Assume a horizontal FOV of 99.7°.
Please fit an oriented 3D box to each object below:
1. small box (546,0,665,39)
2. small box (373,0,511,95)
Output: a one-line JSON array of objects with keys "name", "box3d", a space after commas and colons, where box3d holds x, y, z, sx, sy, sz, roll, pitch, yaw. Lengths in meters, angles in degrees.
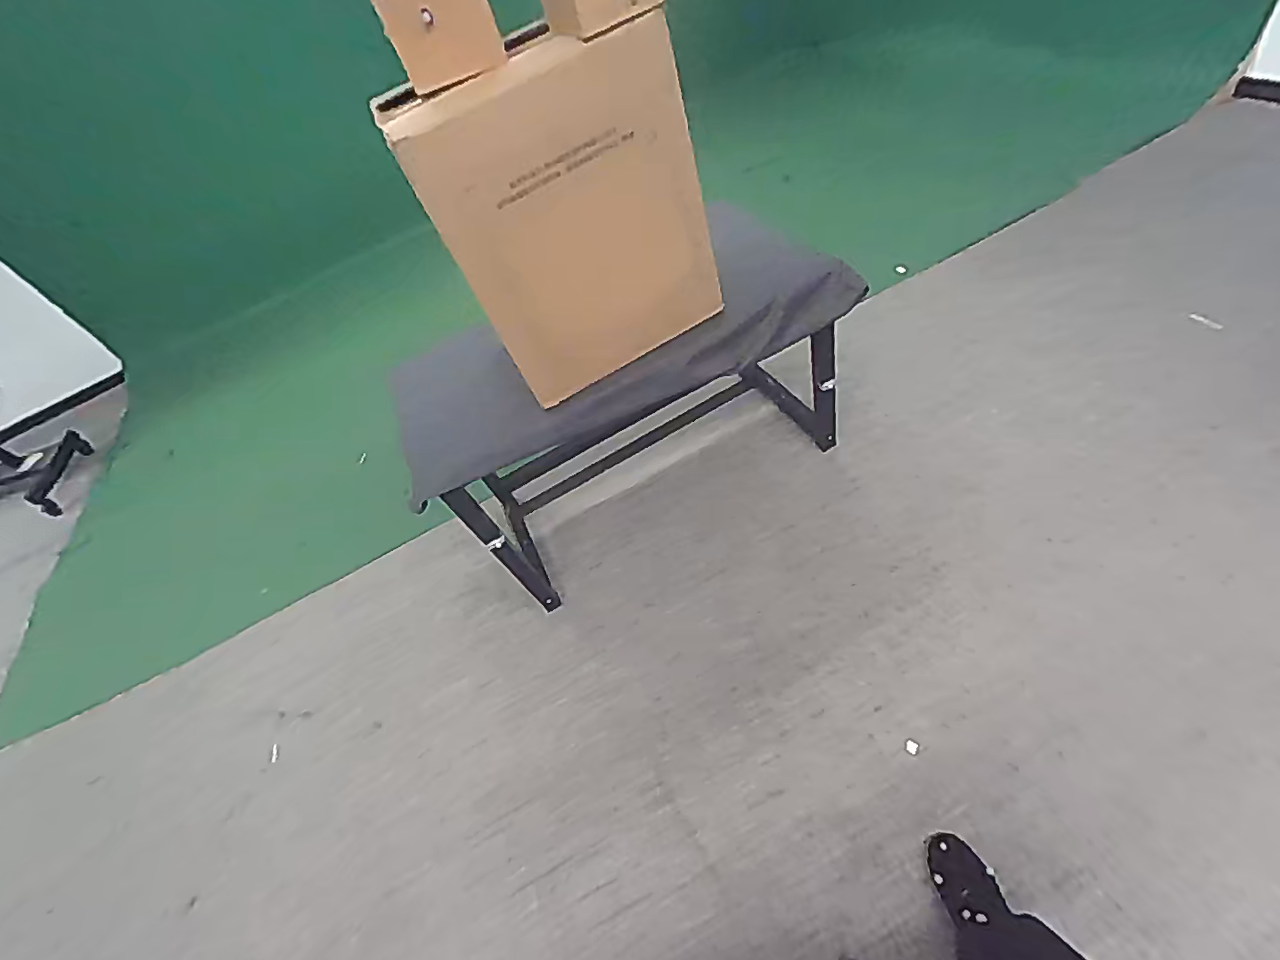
[{"name": "small box", "box3d": [-0.078, -0.886, 0.921, 0.168, 0.176, 0.179, -30, 49, -6]}, {"name": "small box", "box3d": [-0.349, -0.821, 0.951, 0.179, 0.176, 0.168, -20, 57, 3]}]
